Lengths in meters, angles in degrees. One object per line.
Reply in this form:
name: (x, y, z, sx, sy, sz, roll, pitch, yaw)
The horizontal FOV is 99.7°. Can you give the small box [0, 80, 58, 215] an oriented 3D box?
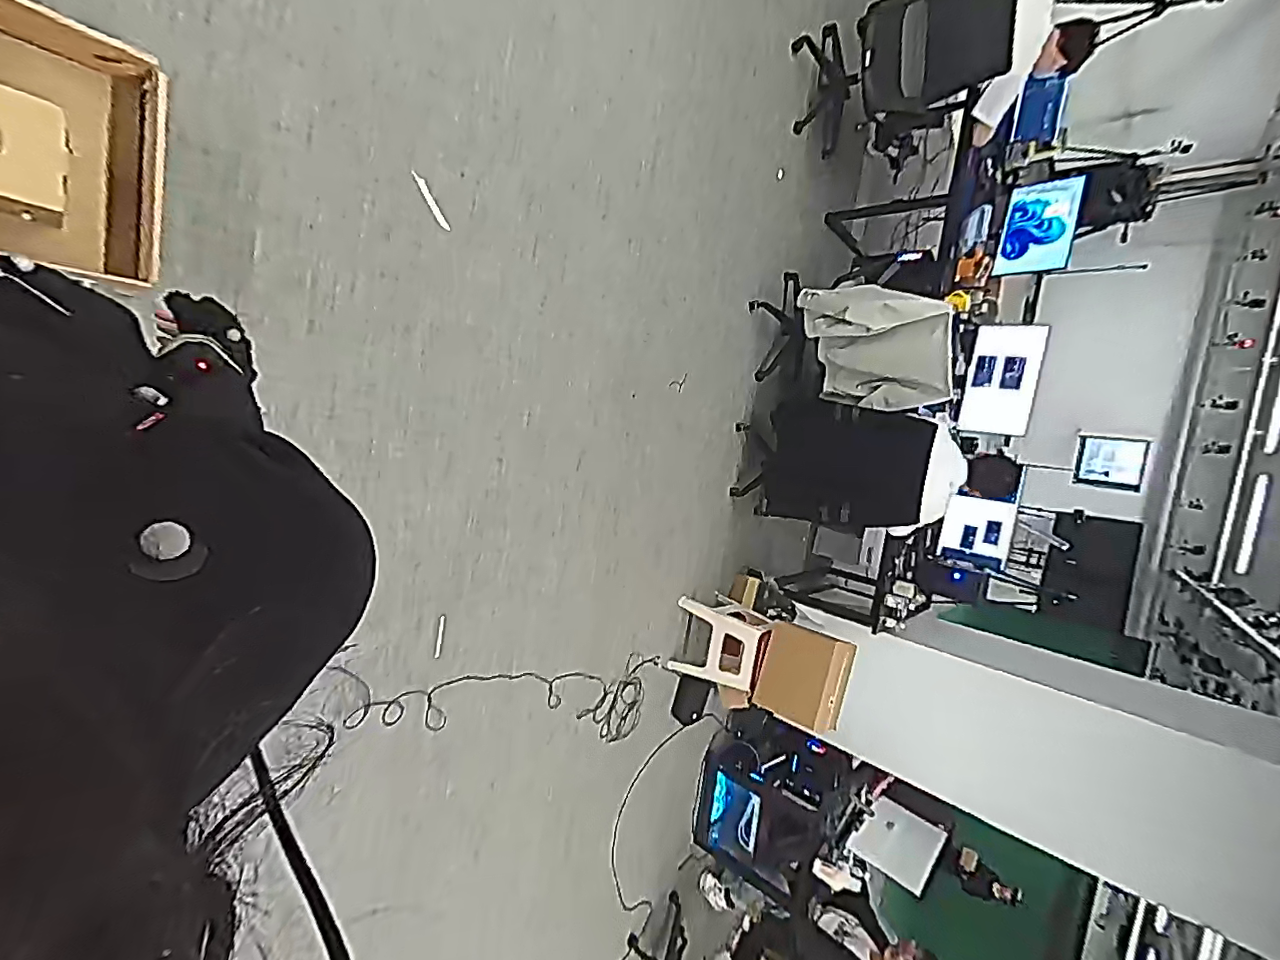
small box: (-1.055, -0.539, 0.854, 0.179, 0.176, 0.168, 3, 96, -48)
